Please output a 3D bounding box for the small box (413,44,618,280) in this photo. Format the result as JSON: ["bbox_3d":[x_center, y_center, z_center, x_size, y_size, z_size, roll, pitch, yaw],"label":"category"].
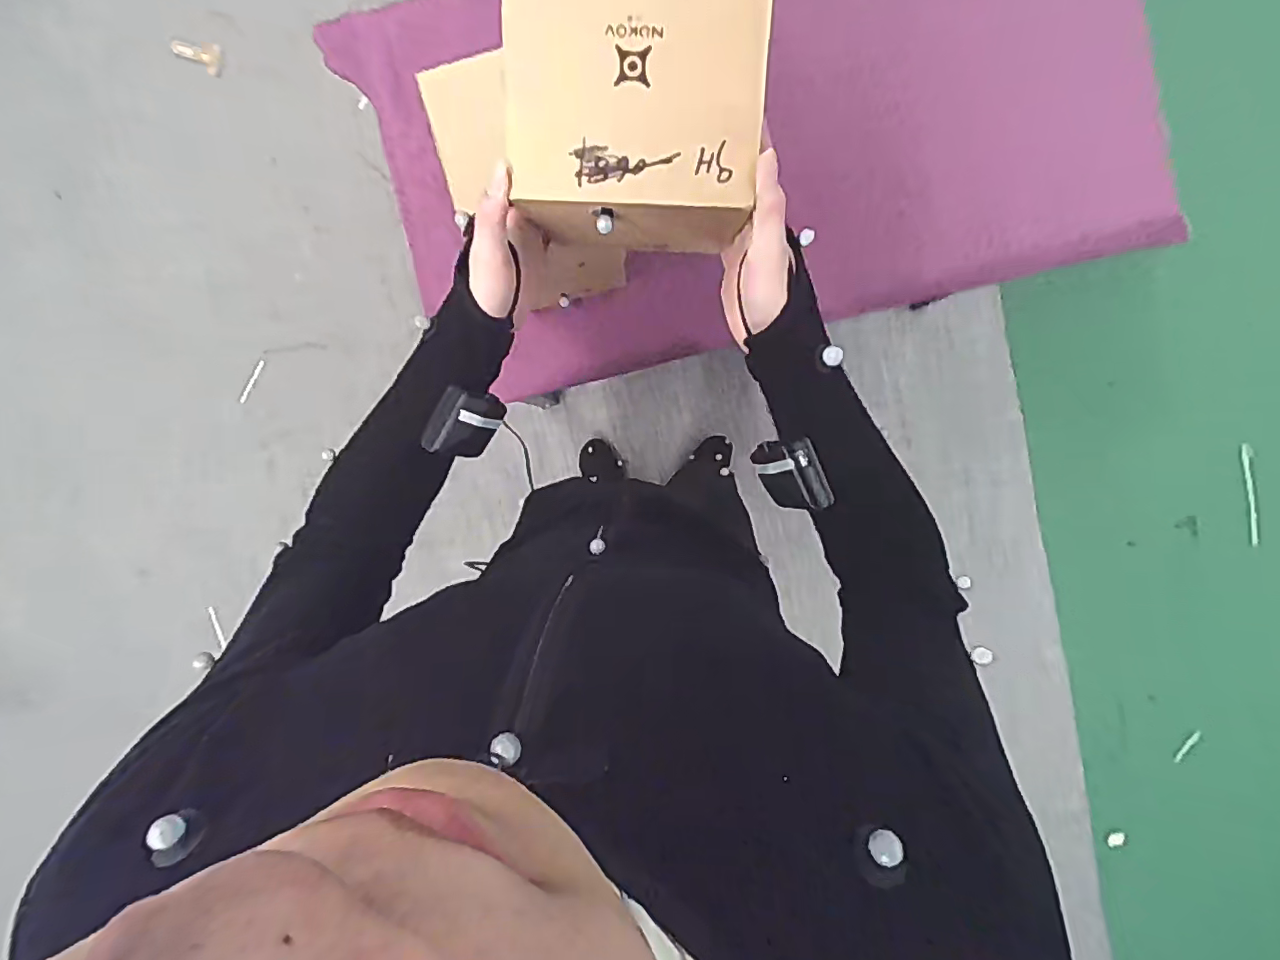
[{"bbox_3d":[-0.124,-0.346,0.618,0.168,0.176,0.179,-16,93,1],"label":"small box"}]

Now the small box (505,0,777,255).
[{"bbox_3d":[0.002,-0.283,0.409,0.168,0.176,0.179,4,104,2],"label":"small box"}]

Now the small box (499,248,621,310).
[{"bbox_3d":[-0.128,-0.367,0.780,0.168,0.176,0.179,-16,95,1],"label":"small box"}]
